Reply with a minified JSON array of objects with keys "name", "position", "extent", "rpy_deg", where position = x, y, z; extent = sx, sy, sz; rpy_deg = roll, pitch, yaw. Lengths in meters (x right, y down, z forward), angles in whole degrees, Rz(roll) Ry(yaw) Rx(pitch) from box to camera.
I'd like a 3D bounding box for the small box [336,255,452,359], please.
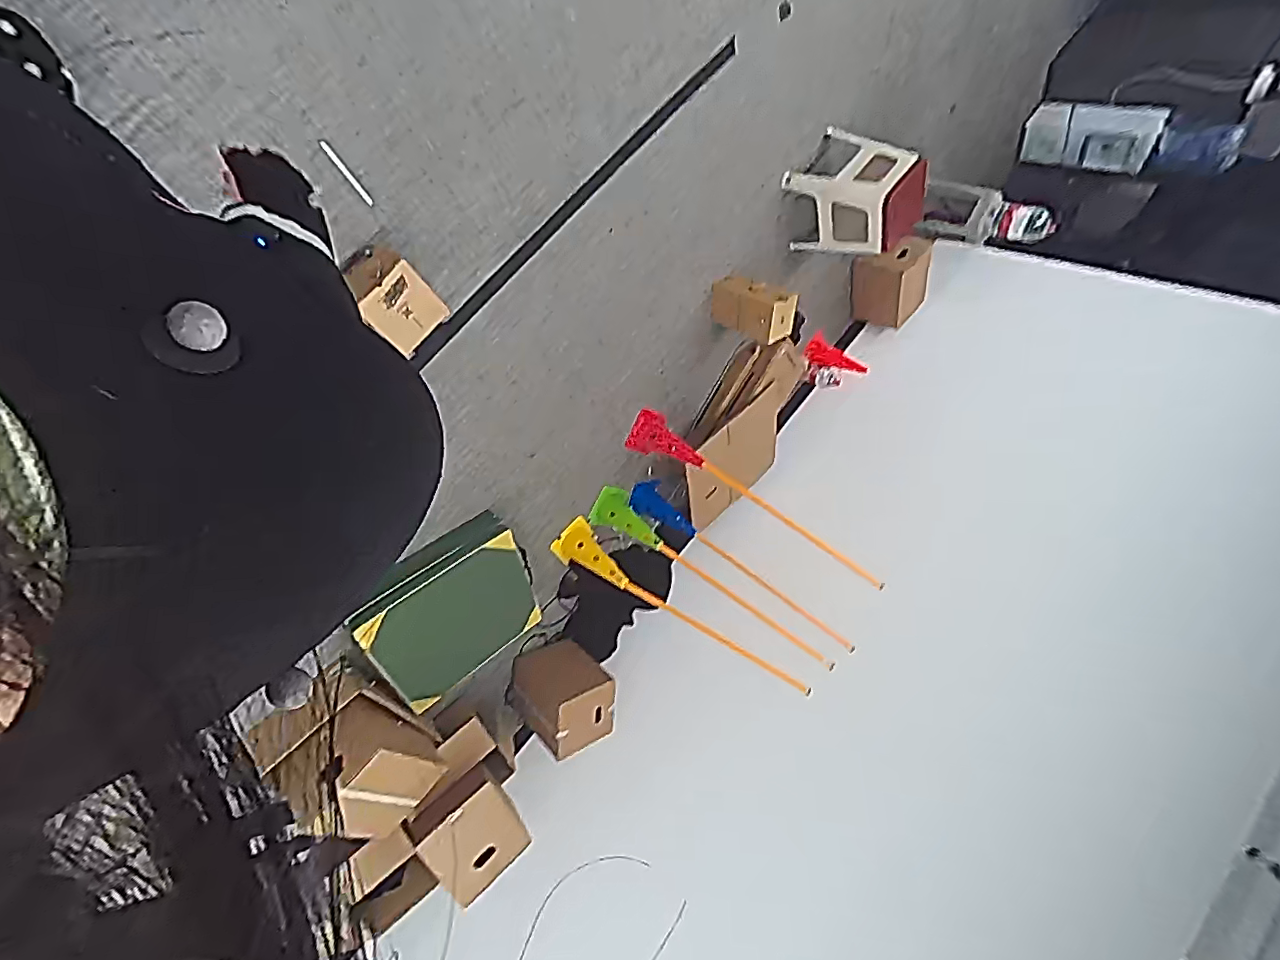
[{"name":"small box","position":[-0.624,-0.443,1.368],"extent":[0.168,0.176,0.179],"rpy_deg":[-50,146,-9]}]
